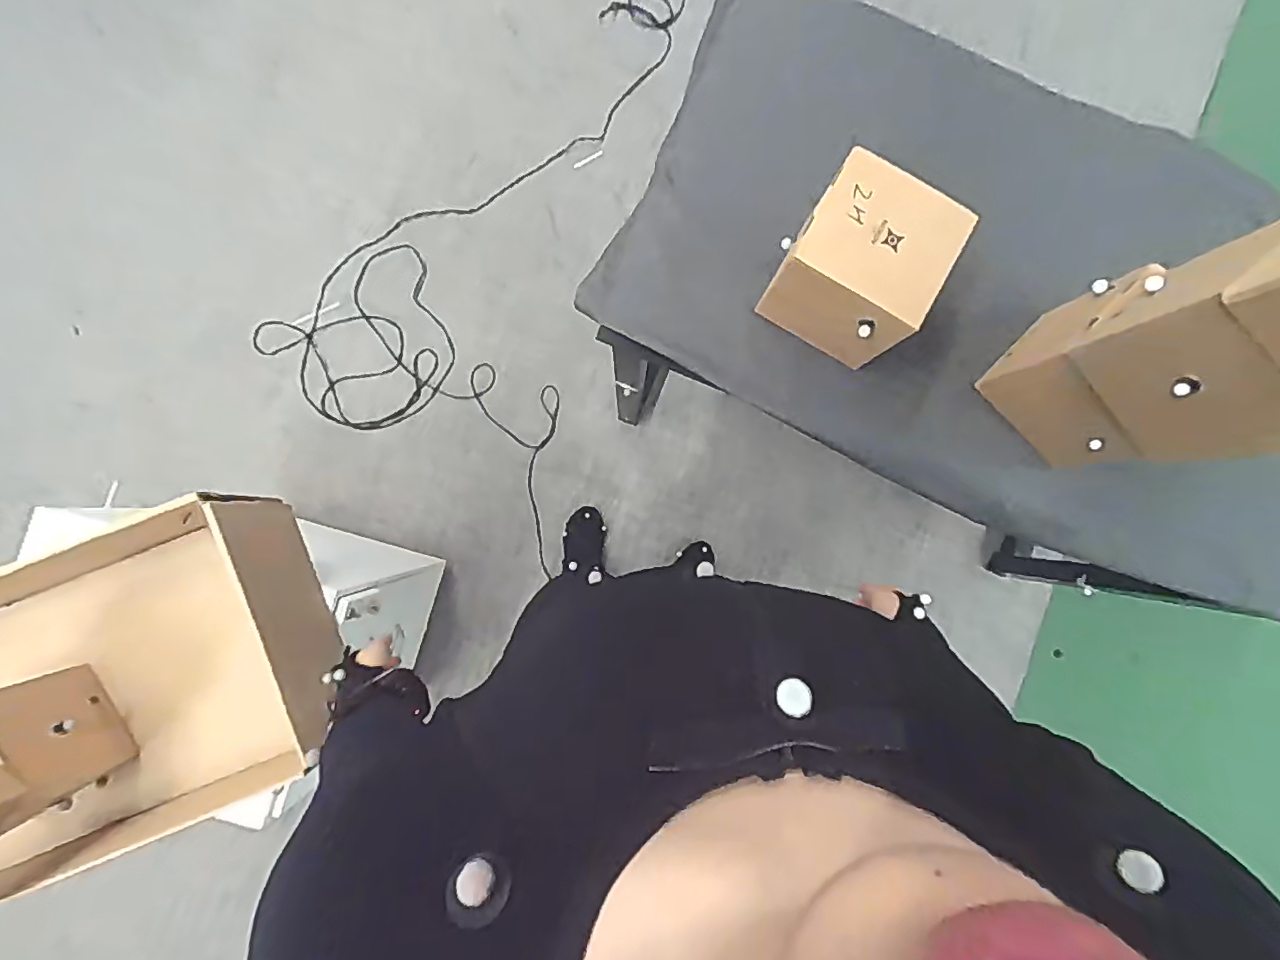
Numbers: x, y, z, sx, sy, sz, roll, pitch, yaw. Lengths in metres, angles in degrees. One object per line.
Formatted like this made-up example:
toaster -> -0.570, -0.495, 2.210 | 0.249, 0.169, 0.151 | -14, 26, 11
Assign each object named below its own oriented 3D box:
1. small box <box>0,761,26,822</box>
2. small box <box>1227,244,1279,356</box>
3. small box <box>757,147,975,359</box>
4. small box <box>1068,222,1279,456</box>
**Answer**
small box -> -0.856, 0.375, 0.575 | 0.179, 0.176, 0.168 | 40, 87, -2
small box -> 0.612, -0.151, 0.390 | 0.168, 0.176, 0.179 | -39, 89, -5
small box -> 0.284, -0.281, 0.717 | 0.179, 0.176, 0.168 | 30, 85, 1
small box -> 0.609, -0.138, 0.552 | 0.168, 0.176, 0.179 | -36, 87, -5
